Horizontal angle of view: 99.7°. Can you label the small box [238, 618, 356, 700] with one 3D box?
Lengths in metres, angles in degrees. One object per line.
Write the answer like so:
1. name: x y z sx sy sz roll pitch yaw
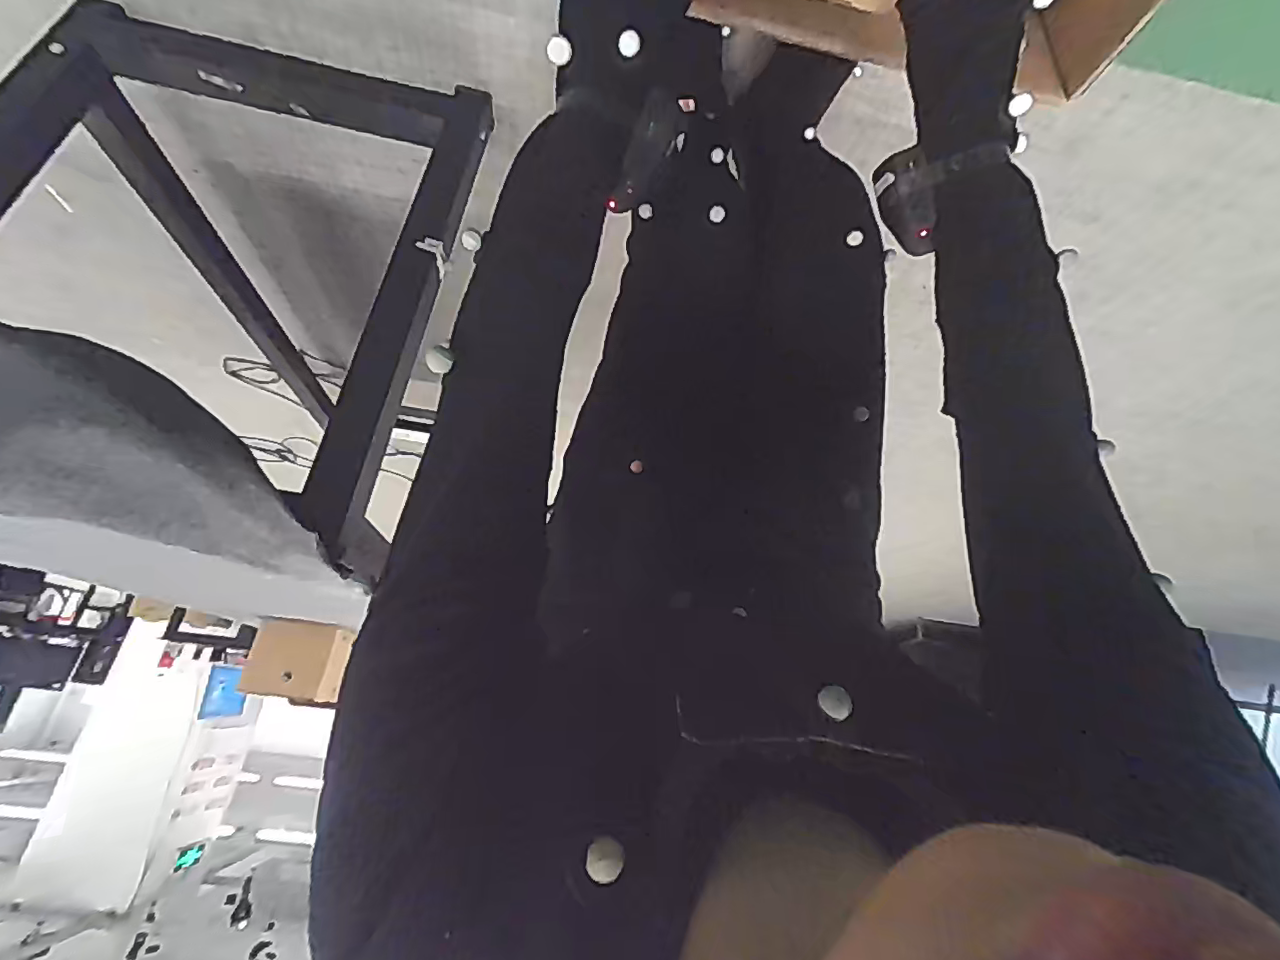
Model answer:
1. small box: -0.821 0.437 1.321 0.179 0.176 0.168 9 156 -4
